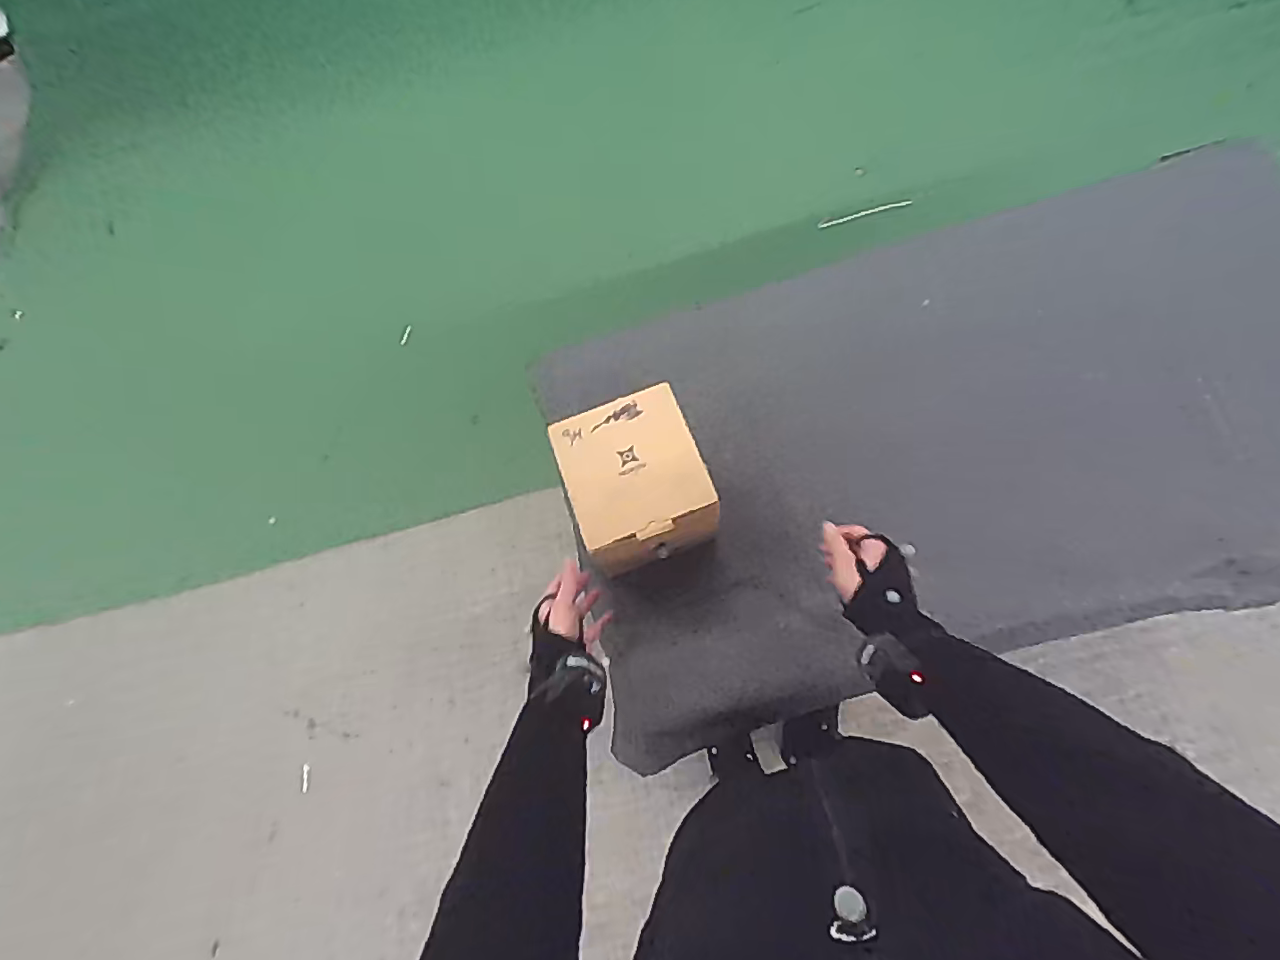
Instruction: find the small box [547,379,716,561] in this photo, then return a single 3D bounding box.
[{"bbox_3d":[-0.004,0.000,0.726,0.168,0.176,0.179,-21,71,-1],"label":"small box"}]
